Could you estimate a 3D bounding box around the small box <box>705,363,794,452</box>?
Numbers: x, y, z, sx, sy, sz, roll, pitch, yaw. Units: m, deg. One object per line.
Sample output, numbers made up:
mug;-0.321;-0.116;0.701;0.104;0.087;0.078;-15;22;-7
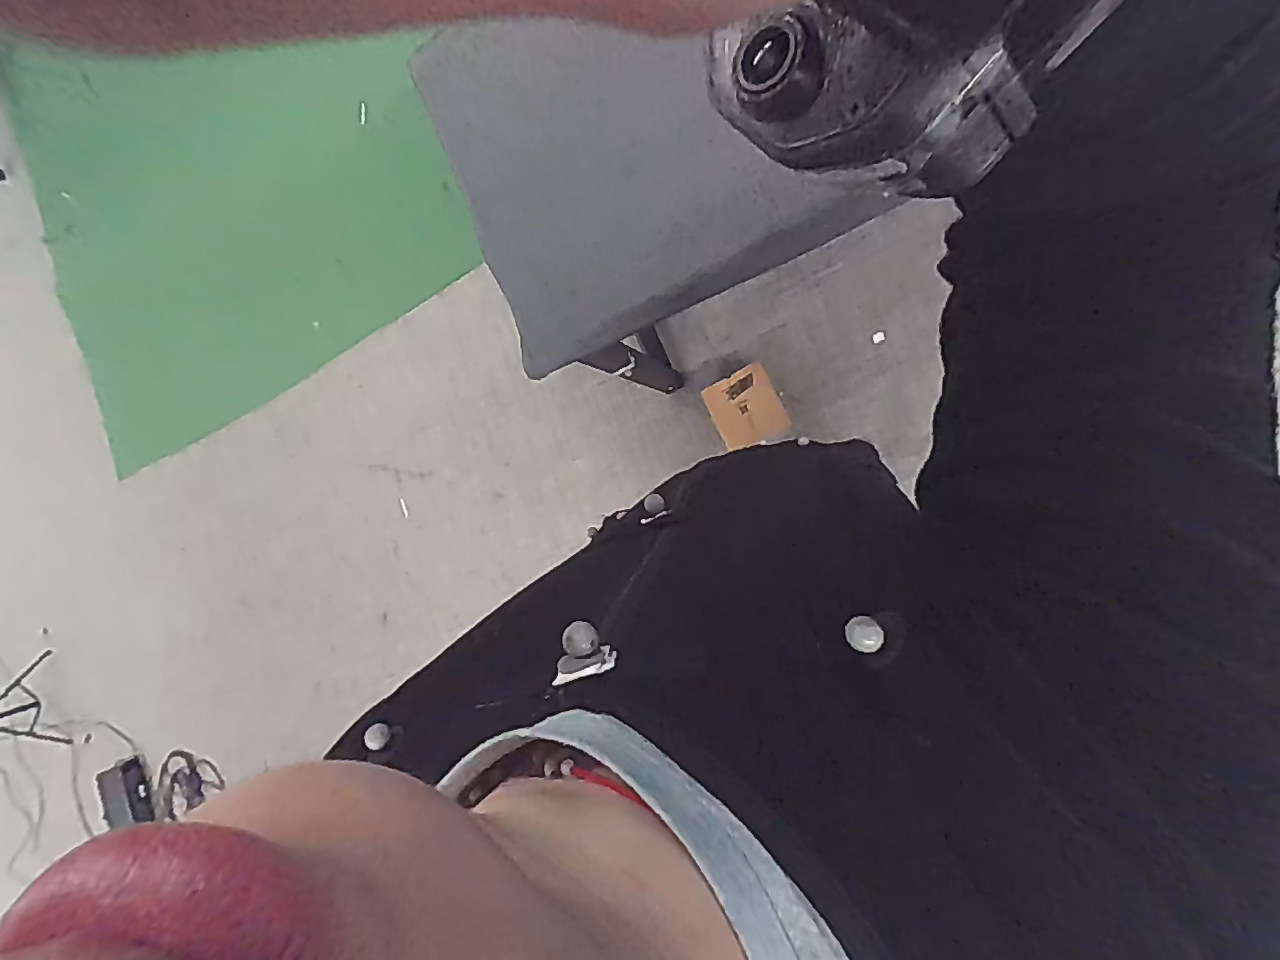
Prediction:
small box;0.291;-0.182;1.417;0.168;0.176;0.179;-27;85;19
